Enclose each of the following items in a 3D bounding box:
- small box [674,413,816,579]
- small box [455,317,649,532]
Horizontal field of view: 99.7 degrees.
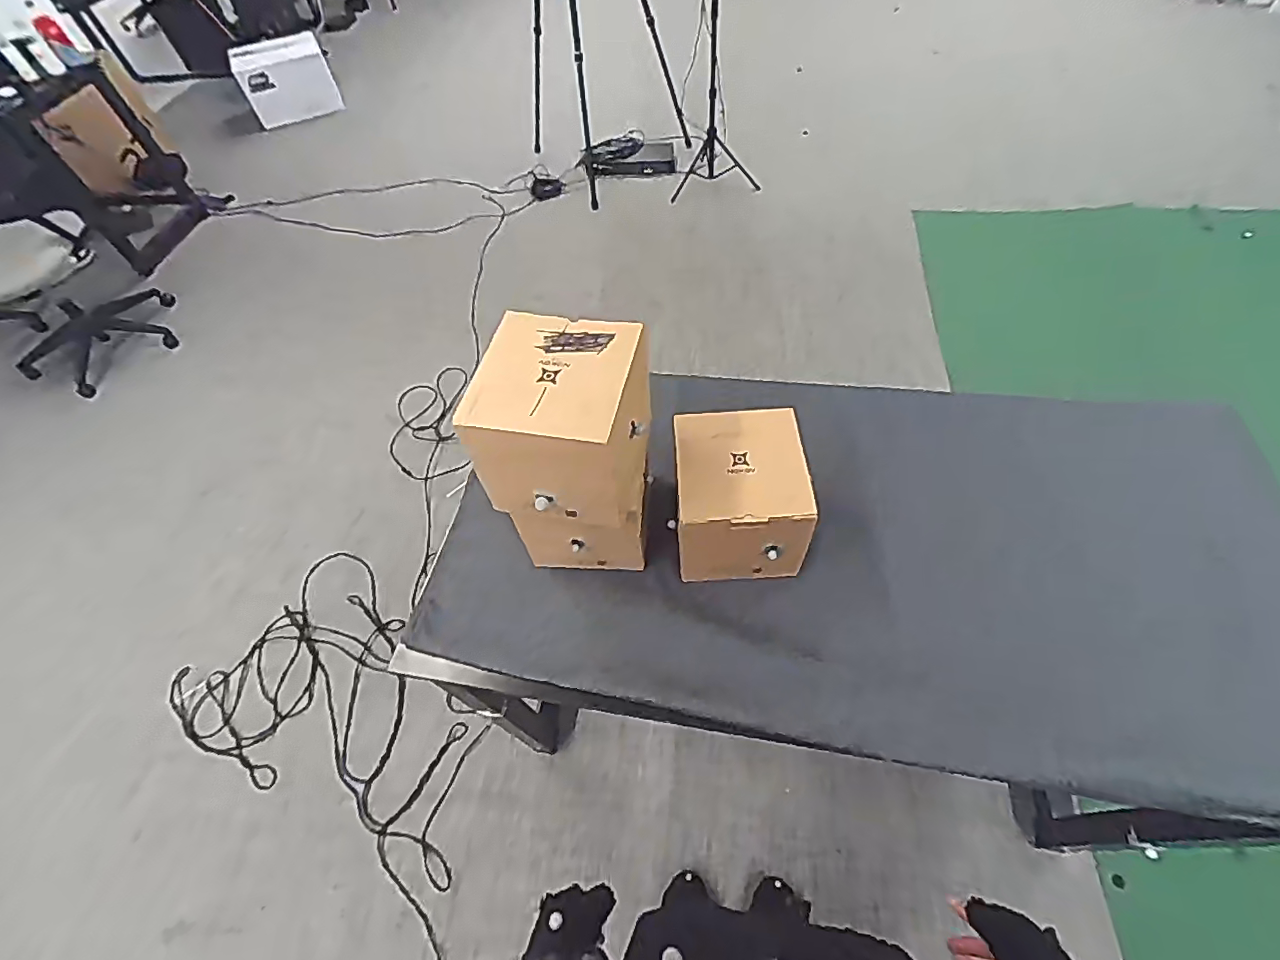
[{"bbox_3d":[0.134,0.030,0.755,0.168,0.176,0.179,-3,54,2],"label":"small box"},{"bbox_3d":[-0.085,-0.063,0.637,0.168,0.176,0.179,8,56,10],"label":"small box"}]
